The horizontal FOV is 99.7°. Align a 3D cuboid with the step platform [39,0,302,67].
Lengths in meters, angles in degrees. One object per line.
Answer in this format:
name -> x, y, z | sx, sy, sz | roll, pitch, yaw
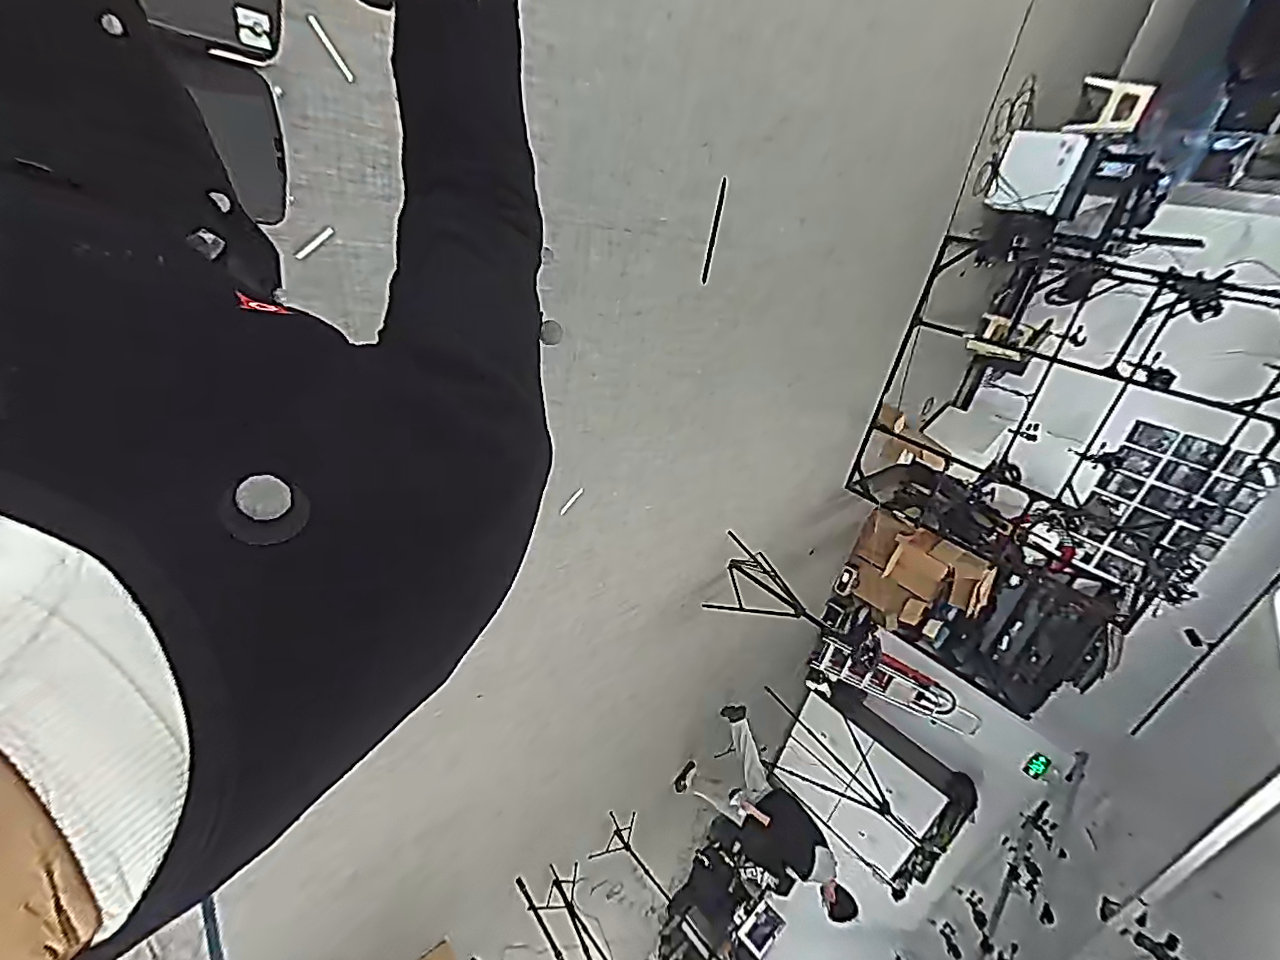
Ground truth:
step platform -> -0.891, -0.861, 0.781 | 0.684, 0.204, 0.286 | -17, 129, -42
